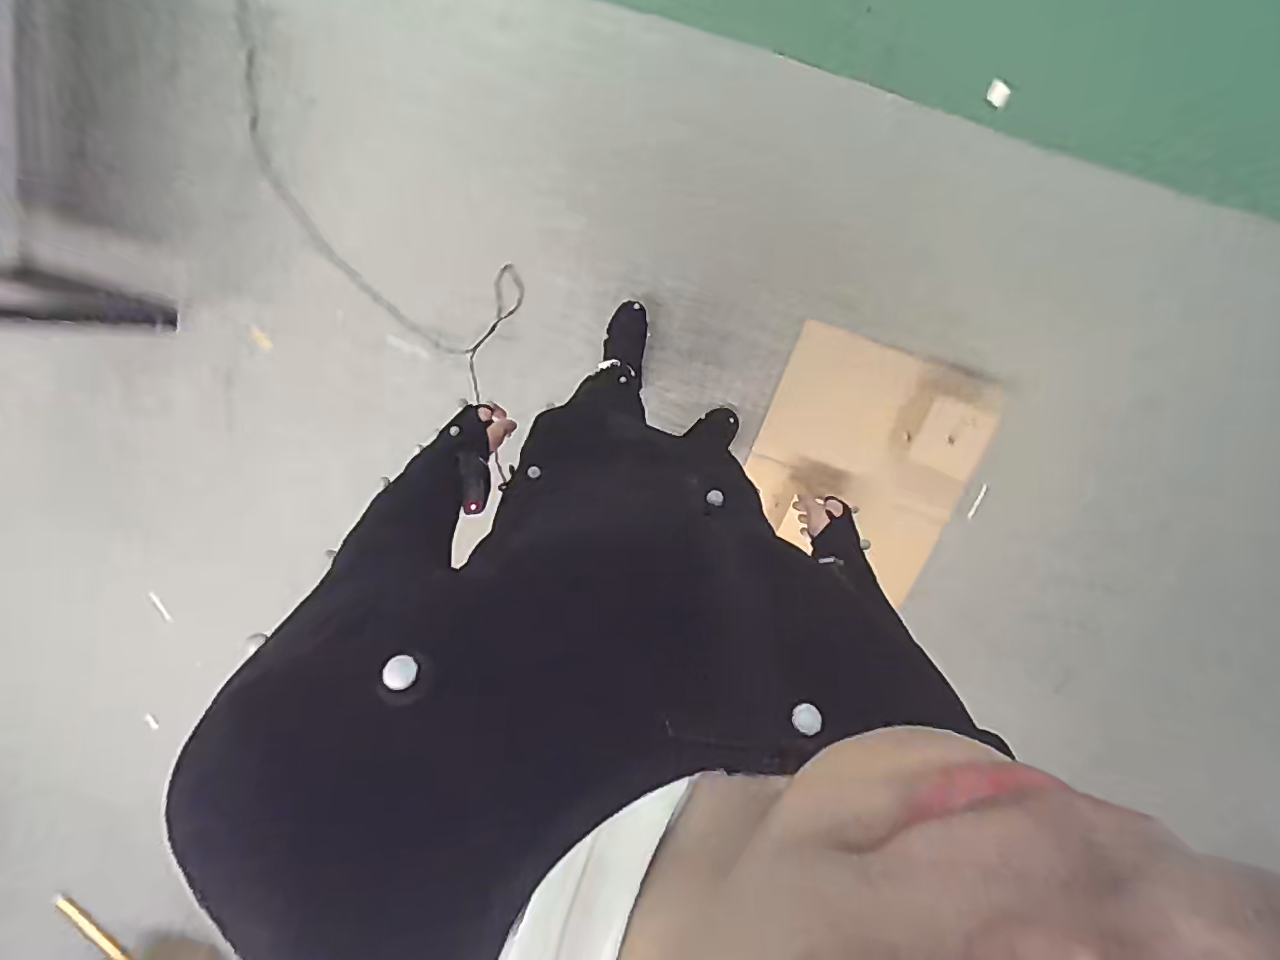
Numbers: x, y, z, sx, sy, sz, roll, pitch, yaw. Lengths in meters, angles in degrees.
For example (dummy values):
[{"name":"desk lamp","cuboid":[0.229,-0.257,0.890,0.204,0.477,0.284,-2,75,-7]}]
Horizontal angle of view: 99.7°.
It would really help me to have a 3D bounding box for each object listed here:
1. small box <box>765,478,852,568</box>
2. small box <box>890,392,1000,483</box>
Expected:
[{"name":"small box","cuboid":[0.467,0.116,1.532,0.168,0.176,0.179,24,105,0]},{"name":"small box","cuboid":[0.793,-0.119,1.432,0.168,0.176,0.179,22,105,0]}]
